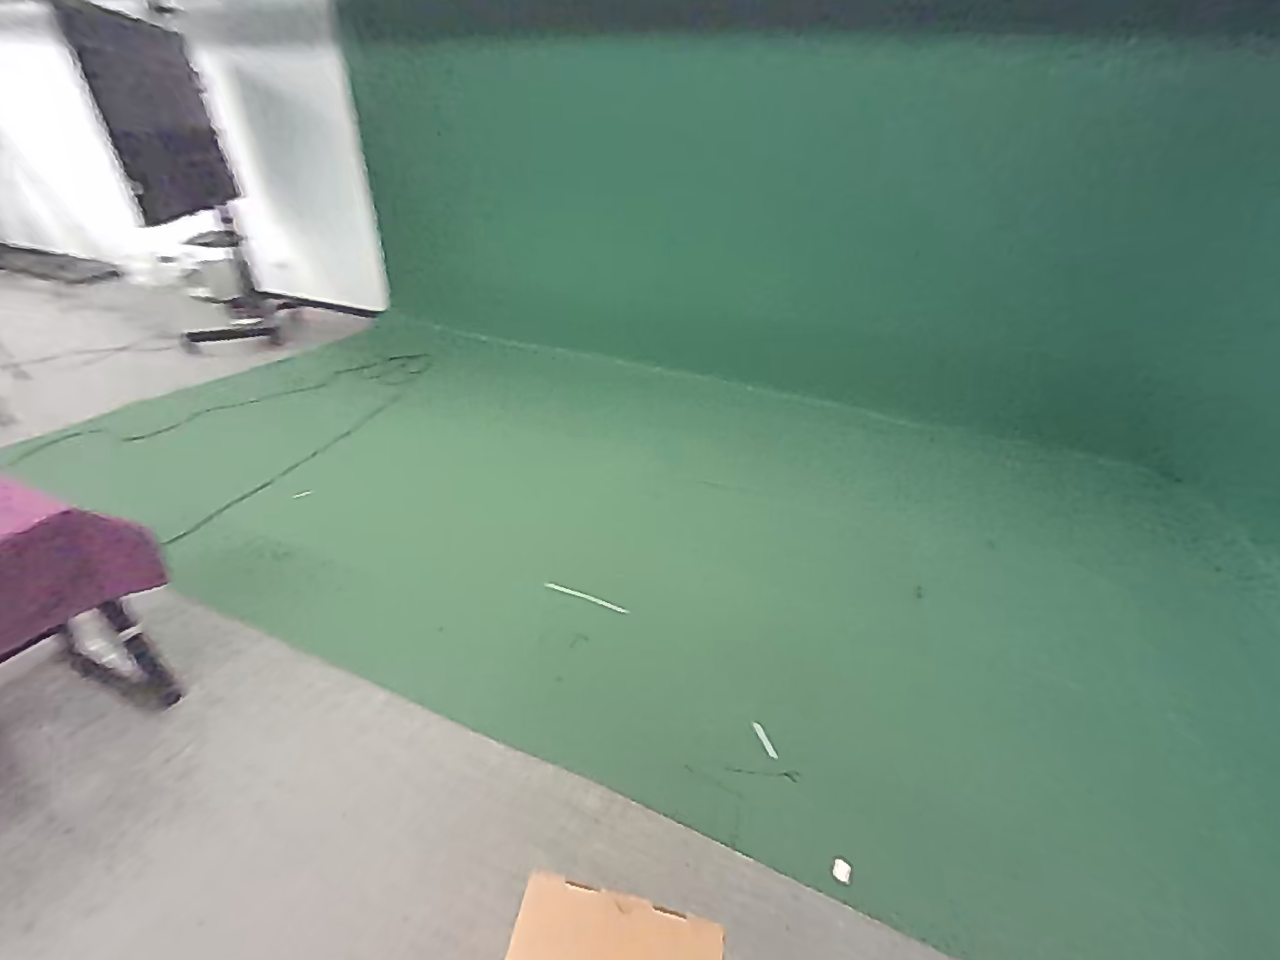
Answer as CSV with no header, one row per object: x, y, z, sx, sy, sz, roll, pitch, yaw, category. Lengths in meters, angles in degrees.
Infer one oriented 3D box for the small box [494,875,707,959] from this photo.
-0.045,0.467,0.446,0.168,0.176,0.179,10,44,7,small box
